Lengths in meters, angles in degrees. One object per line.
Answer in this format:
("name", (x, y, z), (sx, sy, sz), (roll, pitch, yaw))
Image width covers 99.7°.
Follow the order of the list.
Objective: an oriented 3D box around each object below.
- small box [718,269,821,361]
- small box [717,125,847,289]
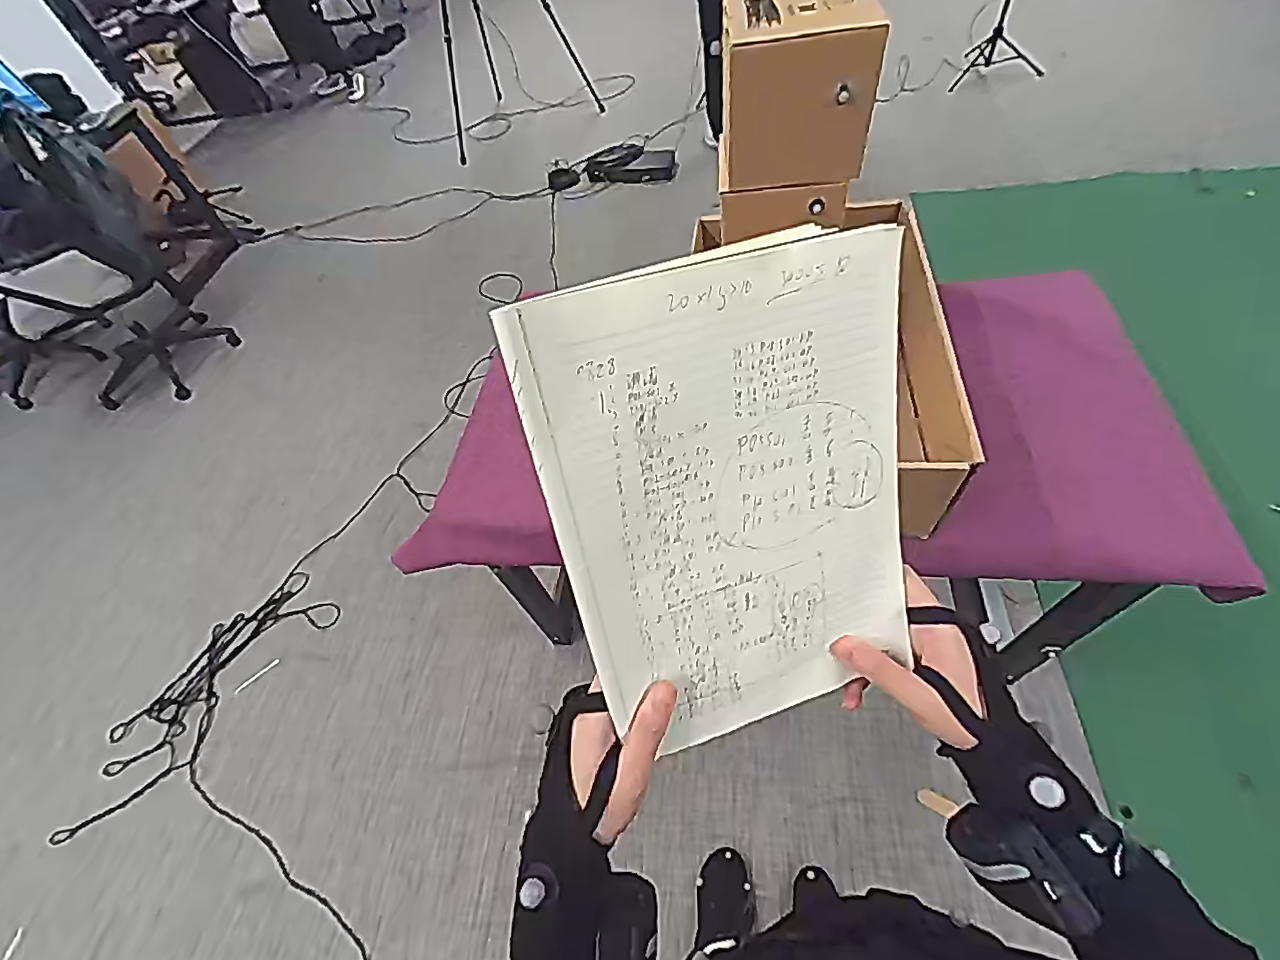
("small box", (0.232, -0.330, 0.978), (0.168, 0.176, 0.179), (2, 57, 11))
("small box", (0.213, -0.417, 0.843), (0.179, 0.176, 0.168), (0, 57, 10))
